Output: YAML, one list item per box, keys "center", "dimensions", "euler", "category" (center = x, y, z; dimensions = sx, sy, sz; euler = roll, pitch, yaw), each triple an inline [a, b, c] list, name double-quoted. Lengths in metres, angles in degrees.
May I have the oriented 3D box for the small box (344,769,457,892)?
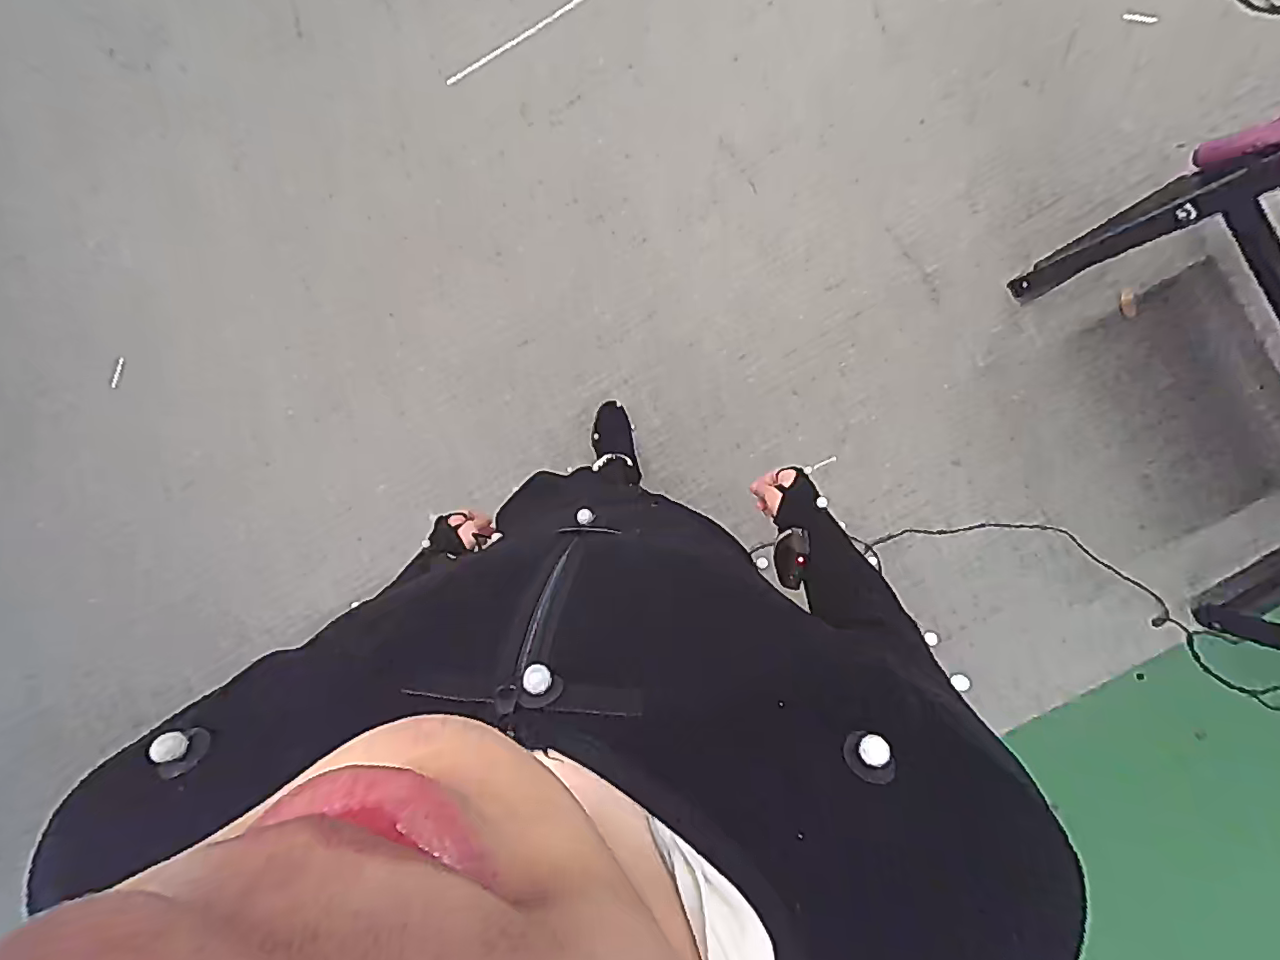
- center: [-0.602, 0.886, 1.382]
  dimensions: [0.179, 0.176, 0.168]
  euler: [-26, 91, 2]
  category: "small box"
